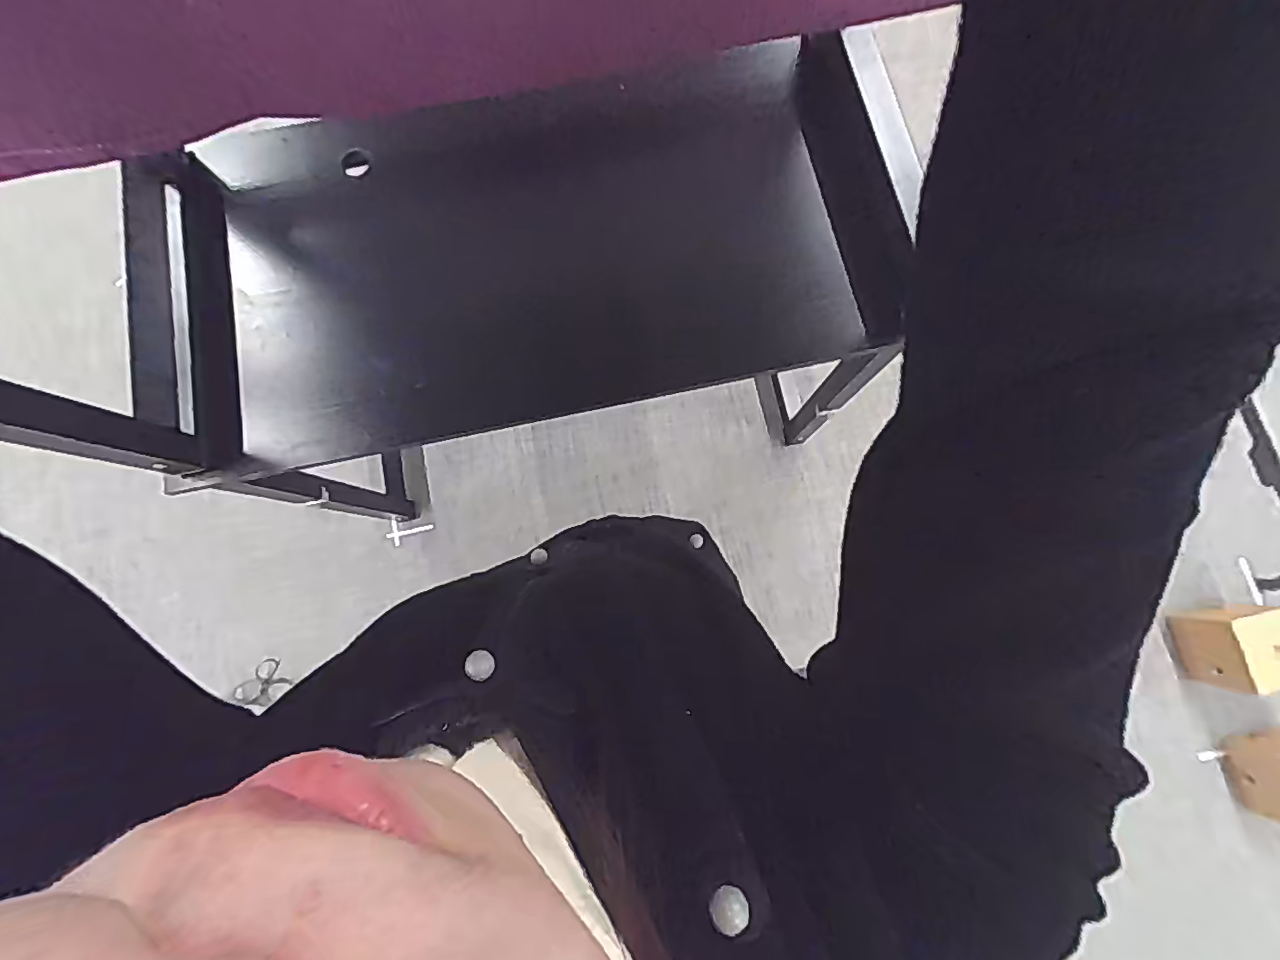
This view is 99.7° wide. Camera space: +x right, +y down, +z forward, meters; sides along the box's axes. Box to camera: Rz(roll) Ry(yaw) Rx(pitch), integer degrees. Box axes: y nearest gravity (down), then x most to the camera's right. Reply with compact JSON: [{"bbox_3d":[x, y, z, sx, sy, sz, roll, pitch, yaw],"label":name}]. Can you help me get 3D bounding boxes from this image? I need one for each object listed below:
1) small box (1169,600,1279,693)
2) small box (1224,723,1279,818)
[{"bbox_3d":[1.490,0.404,1.339,0.168,0.176,0.179,-13,81,0],"label":"small box"},{"bbox_3d":[1.579,0.708,1.289,0.168,0.176,0.179,-13,82,0],"label":"small box"}]
